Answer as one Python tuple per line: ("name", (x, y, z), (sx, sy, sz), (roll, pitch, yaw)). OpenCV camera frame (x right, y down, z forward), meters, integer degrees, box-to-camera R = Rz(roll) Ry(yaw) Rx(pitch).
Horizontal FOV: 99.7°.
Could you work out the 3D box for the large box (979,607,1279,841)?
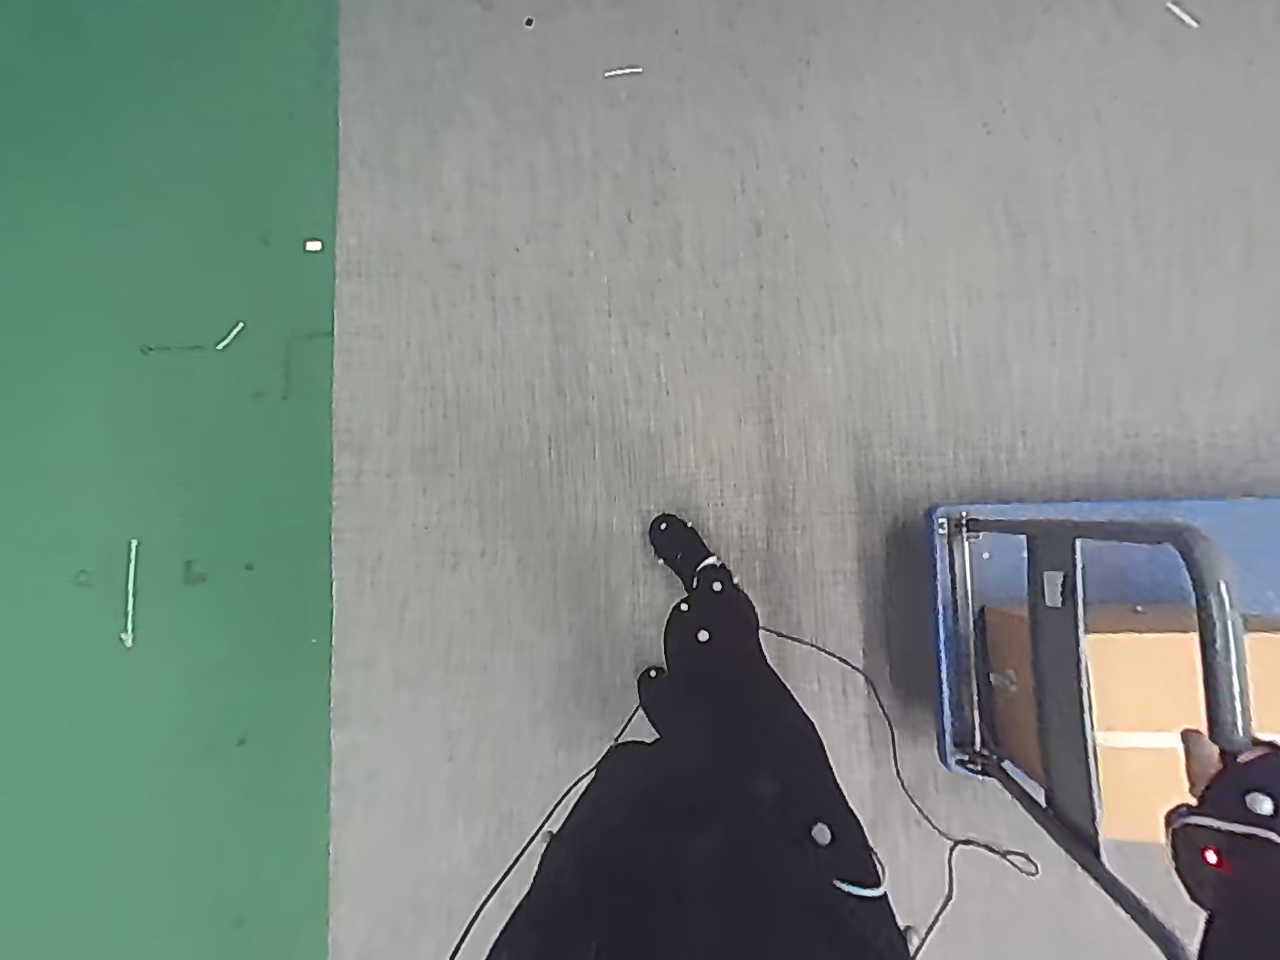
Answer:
("large box", (0.911, 0.408, 0.979), (0.408, 0.320, 0.320), (-2, 86, 6))
